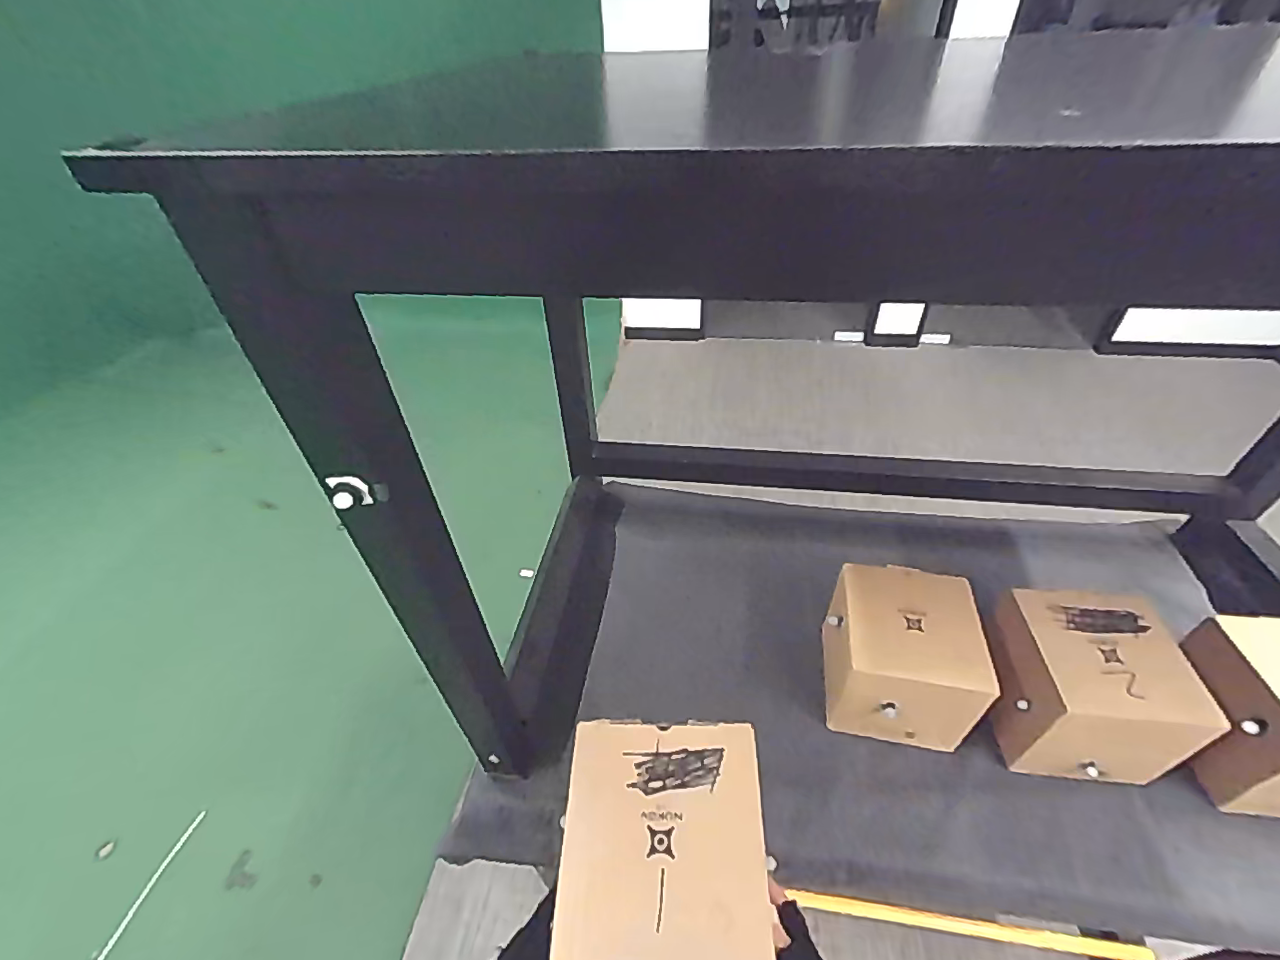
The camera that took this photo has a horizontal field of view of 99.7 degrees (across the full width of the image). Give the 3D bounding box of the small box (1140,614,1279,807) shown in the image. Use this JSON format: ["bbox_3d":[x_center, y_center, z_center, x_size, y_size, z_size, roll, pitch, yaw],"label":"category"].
[{"bbox_3d":[0.796,0.293,0.671,0.168,0.176,0.179,3,41,7],"label":"small box"}]

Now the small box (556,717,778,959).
[{"bbox_3d":[0.028,0.343,0.505,0.168,0.176,0.179,-2,46,5],"label":"small box"}]

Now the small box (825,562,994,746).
[{"bbox_3d":[0.360,0.244,0.760,0.168,0.176,0.179,6,42,11],"label":"small box"}]
